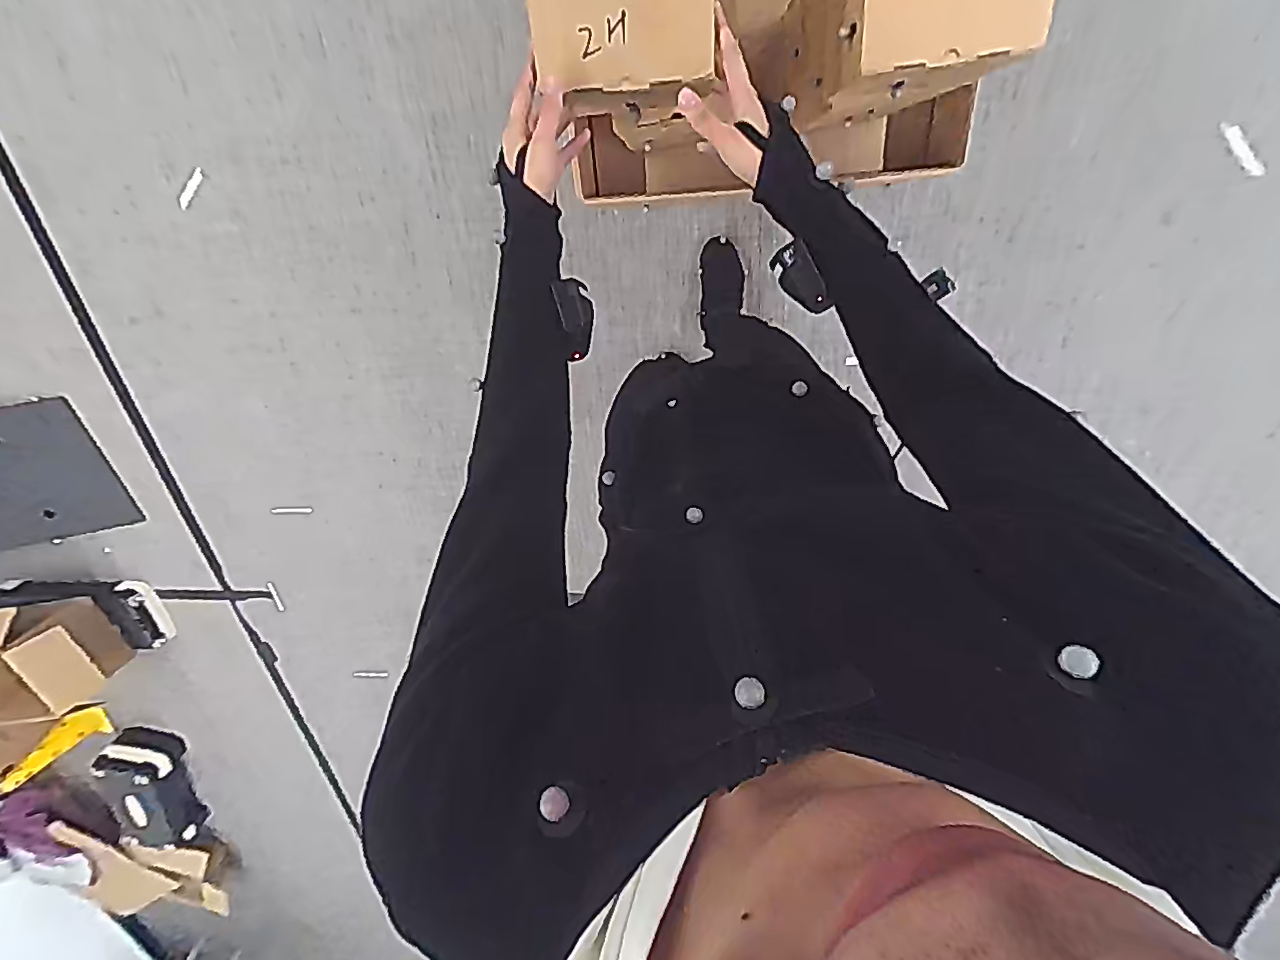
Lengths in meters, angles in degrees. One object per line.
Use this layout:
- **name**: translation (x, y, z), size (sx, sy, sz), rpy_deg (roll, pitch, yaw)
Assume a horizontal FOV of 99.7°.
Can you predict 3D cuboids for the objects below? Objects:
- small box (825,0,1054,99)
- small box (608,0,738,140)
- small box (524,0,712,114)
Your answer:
- **small box**: translation (0.286, -0.502, 0.533), size (0.168, 0.176, 0.179), rpy_deg (-3, 118, 7)
- **small box**: translation (0.039, -0.565, 0.714), size (0.168, 0.176, 0.179), rpy_deg (-5, 115, 8)
- **small box**: translation (-0.018, -0.475, 0.525), size (0.168, 0.176, 0.179), rpy_deg (-2, 119, 5)
